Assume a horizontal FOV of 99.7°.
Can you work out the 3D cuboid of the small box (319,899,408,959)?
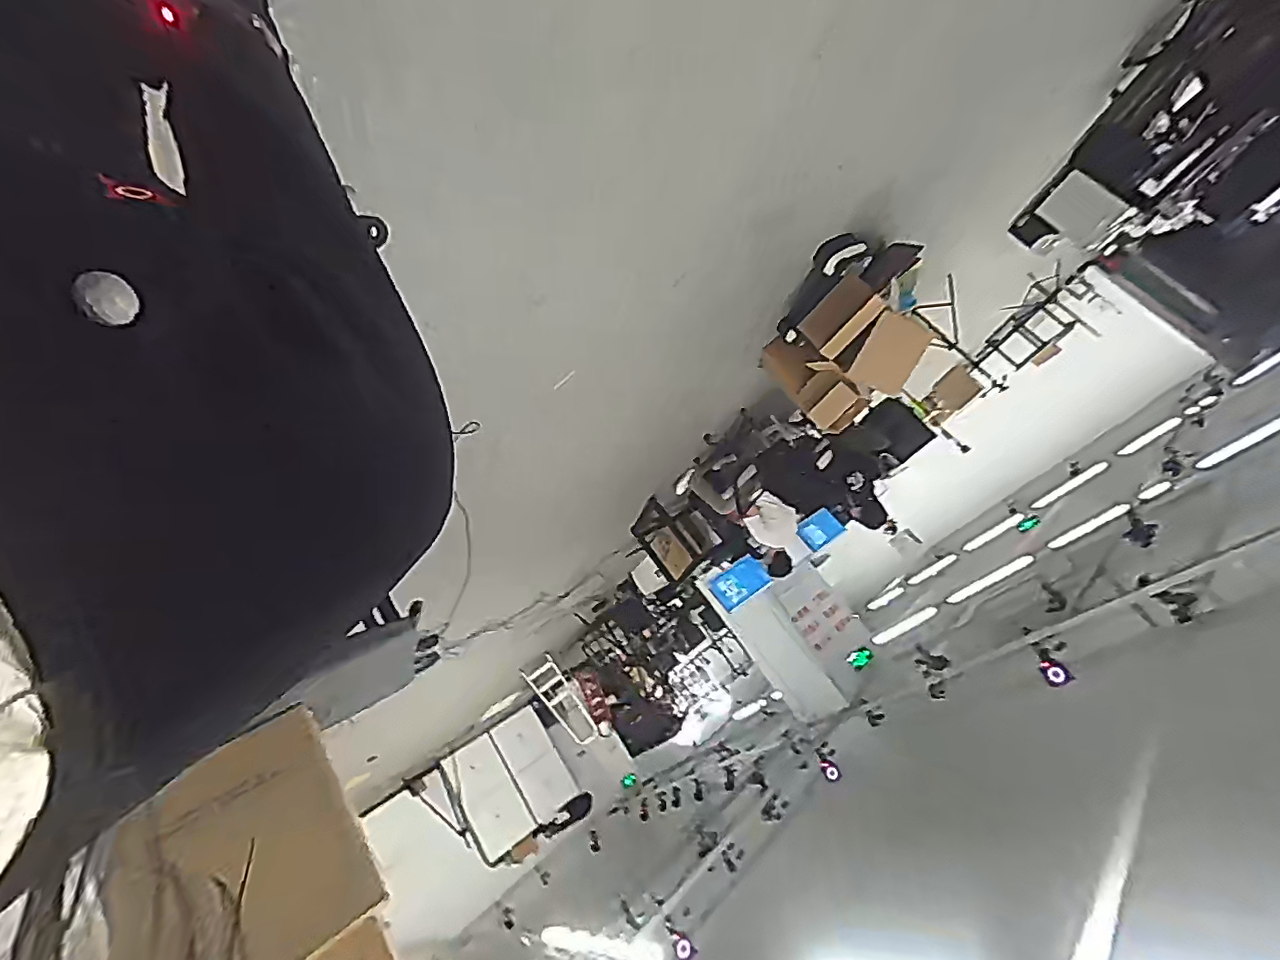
[{"bbox_3d":[-0.785,1.339,1.534,0.179,0.176,0.168,-26,157,-32],"label":"small box"}]
